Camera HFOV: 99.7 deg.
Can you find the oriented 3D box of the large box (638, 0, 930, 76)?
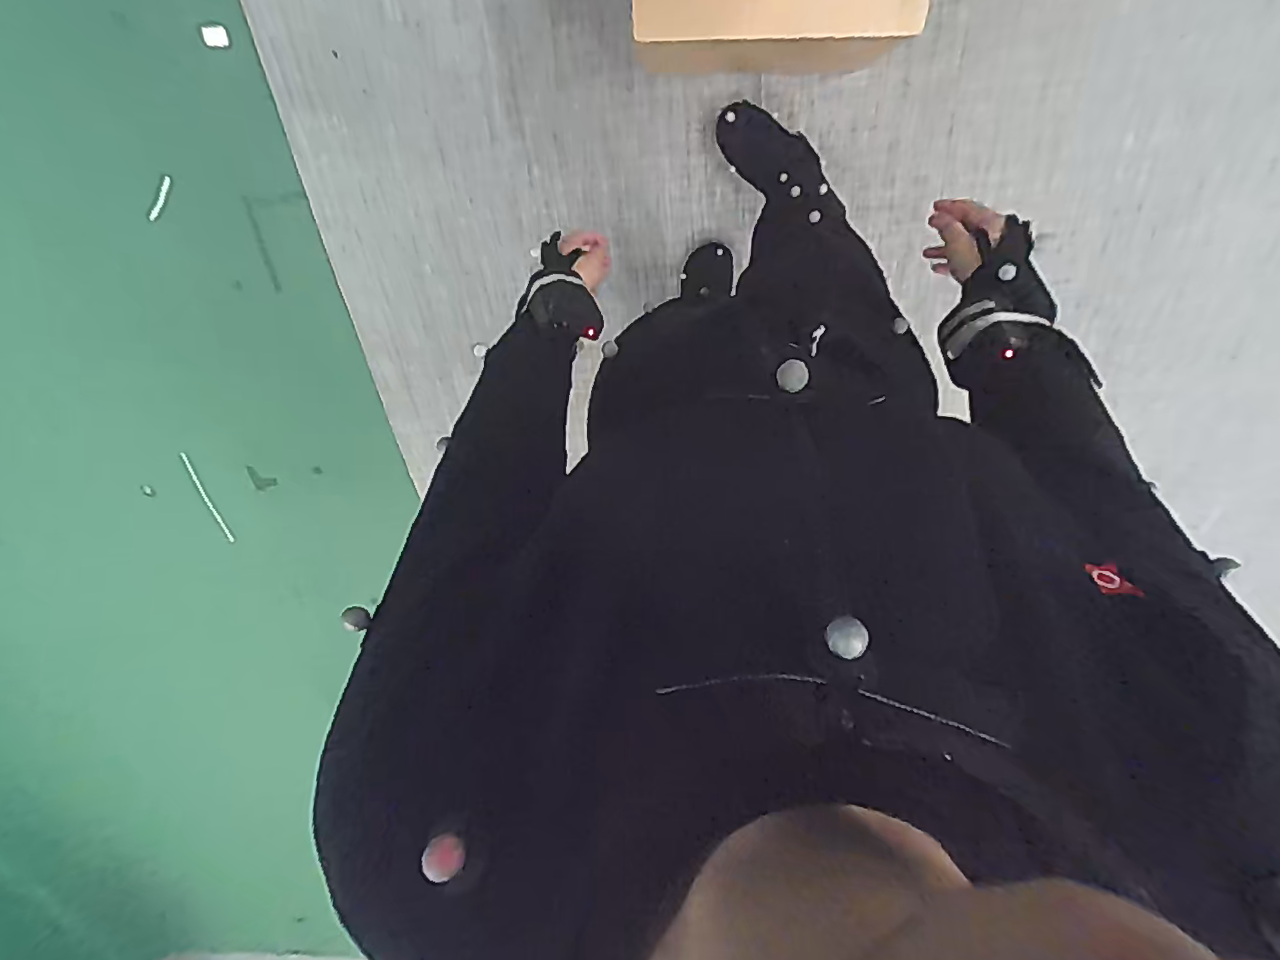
[{"bbox_3d":[0.198,-0.826,0.812,0.408,0.320,0.320,1,121,2],"label":"large box"}]
